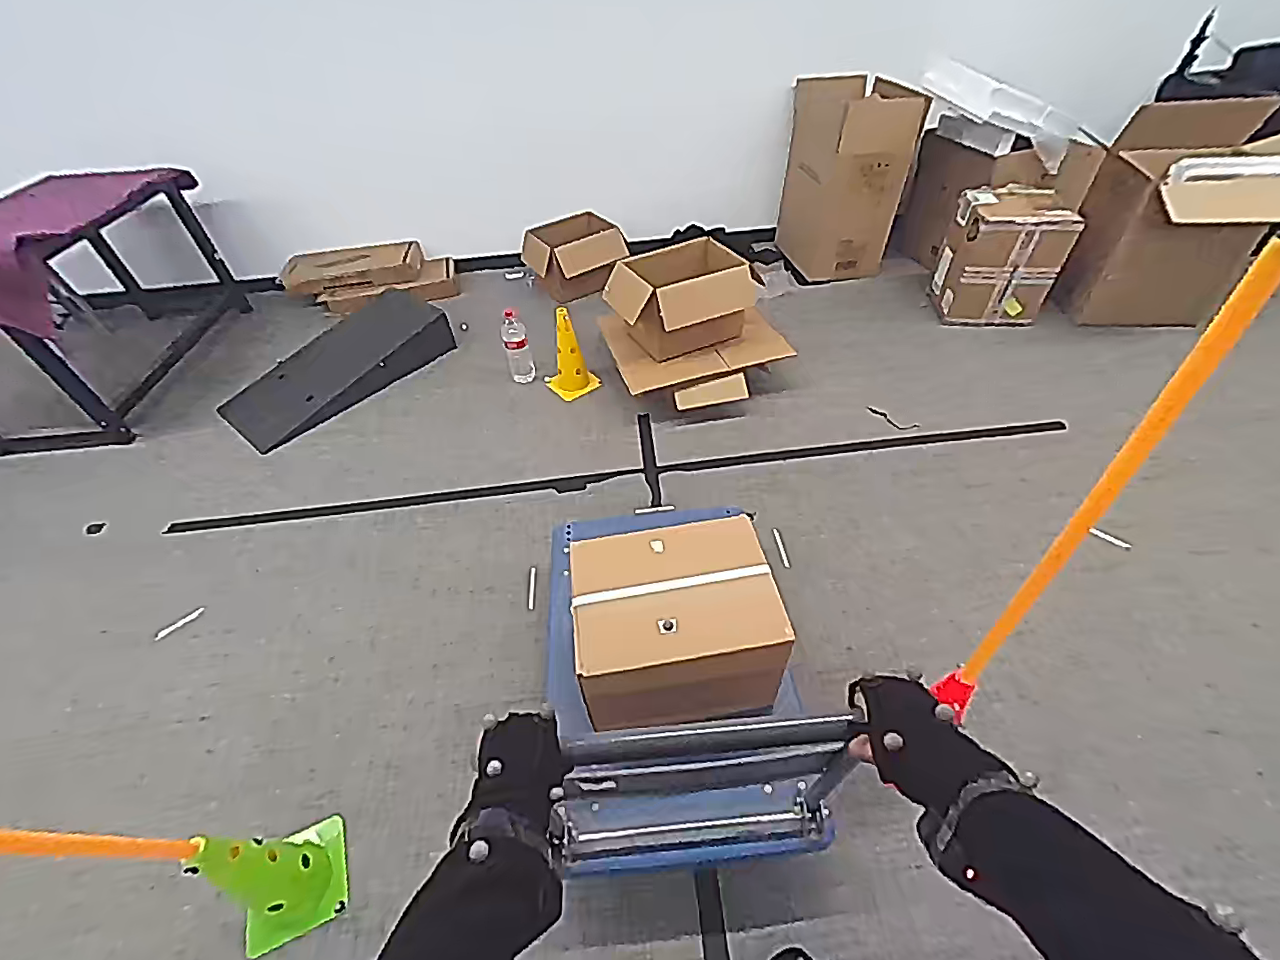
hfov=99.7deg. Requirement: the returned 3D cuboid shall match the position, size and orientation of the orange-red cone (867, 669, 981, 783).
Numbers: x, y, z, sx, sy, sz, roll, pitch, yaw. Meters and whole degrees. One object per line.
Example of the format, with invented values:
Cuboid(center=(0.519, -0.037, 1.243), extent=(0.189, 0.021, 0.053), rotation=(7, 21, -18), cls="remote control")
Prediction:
Cuboid(center=(0.660, 0.508, 1.188), extent=(0.199, 0.360, 0.198), rotation=(-1, 46, 2), cls="orange-red cone")
